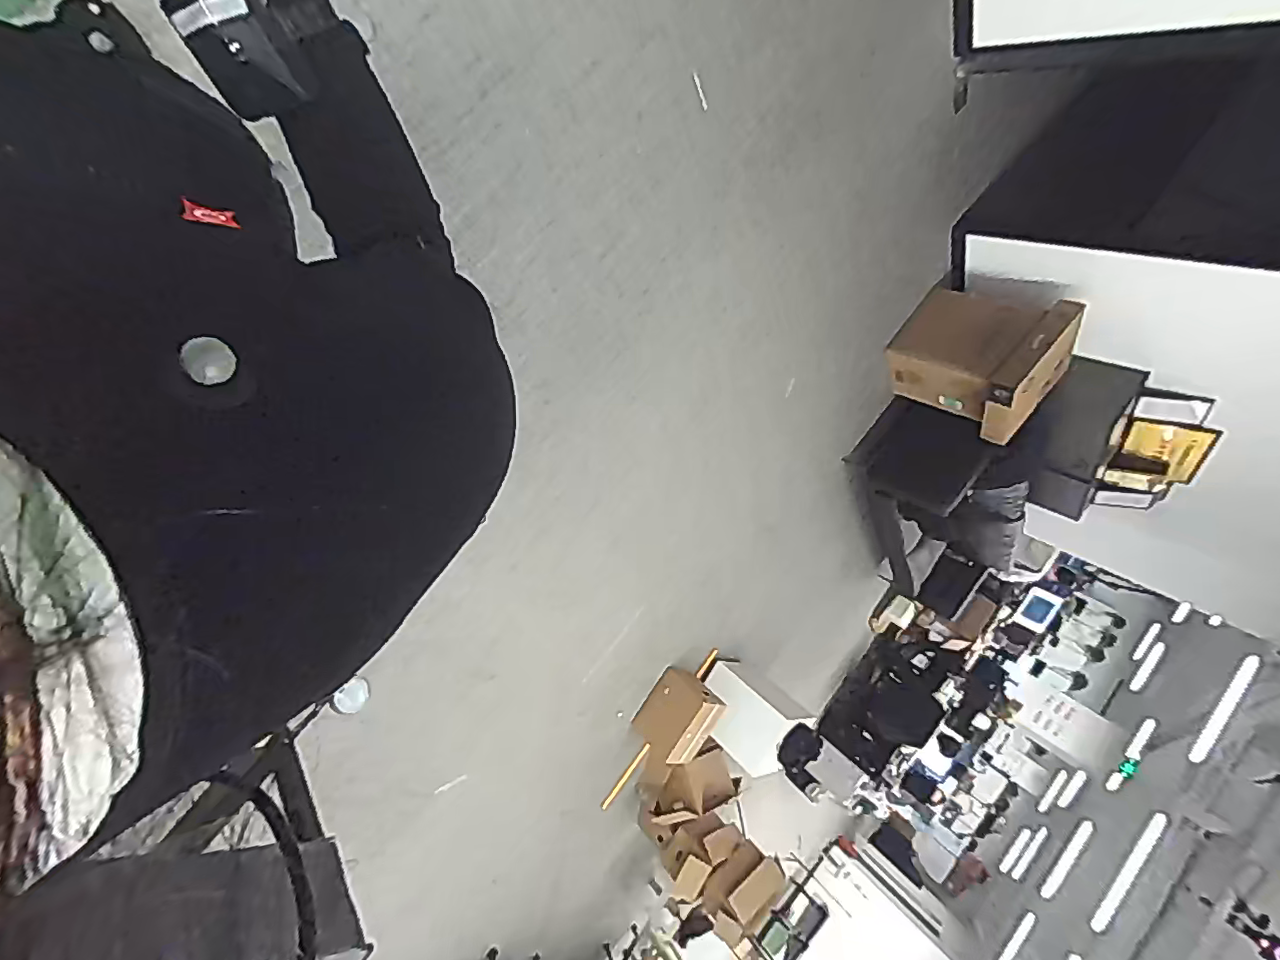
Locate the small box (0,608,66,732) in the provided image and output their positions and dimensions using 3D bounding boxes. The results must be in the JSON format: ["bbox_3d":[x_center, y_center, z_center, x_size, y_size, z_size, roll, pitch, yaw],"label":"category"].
[{"bbox_3d":[-1.326,0.387,1.108,0.179,0.176,0.168,-57,141,2],"label":"small box"}]
